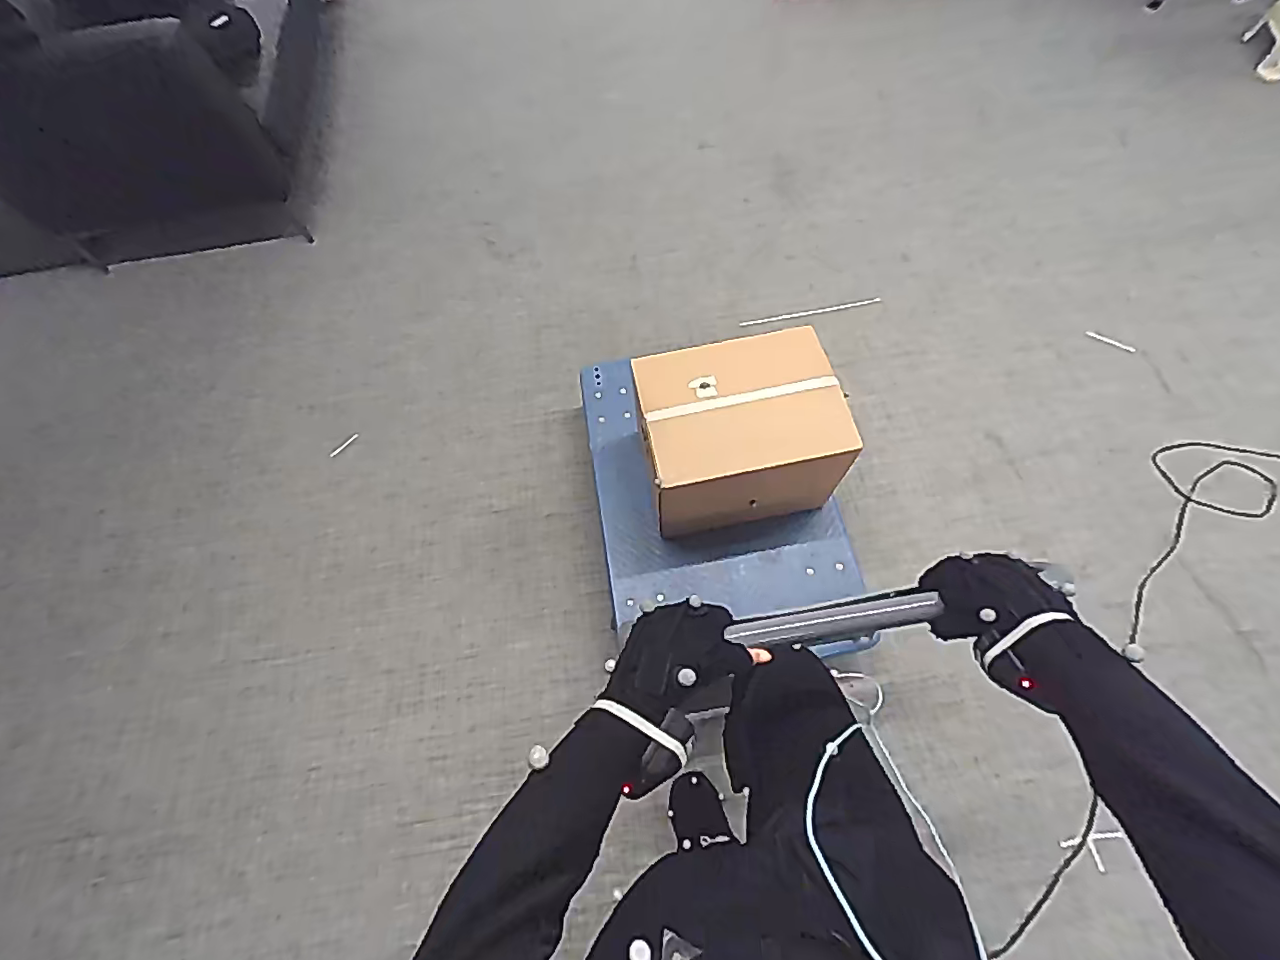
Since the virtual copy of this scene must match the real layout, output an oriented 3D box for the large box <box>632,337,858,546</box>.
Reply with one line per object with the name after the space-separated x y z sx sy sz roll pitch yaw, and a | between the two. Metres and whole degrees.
0.218 -0.074 1.254 0.408 0.320 0.320 -13 64 -1 | large box
